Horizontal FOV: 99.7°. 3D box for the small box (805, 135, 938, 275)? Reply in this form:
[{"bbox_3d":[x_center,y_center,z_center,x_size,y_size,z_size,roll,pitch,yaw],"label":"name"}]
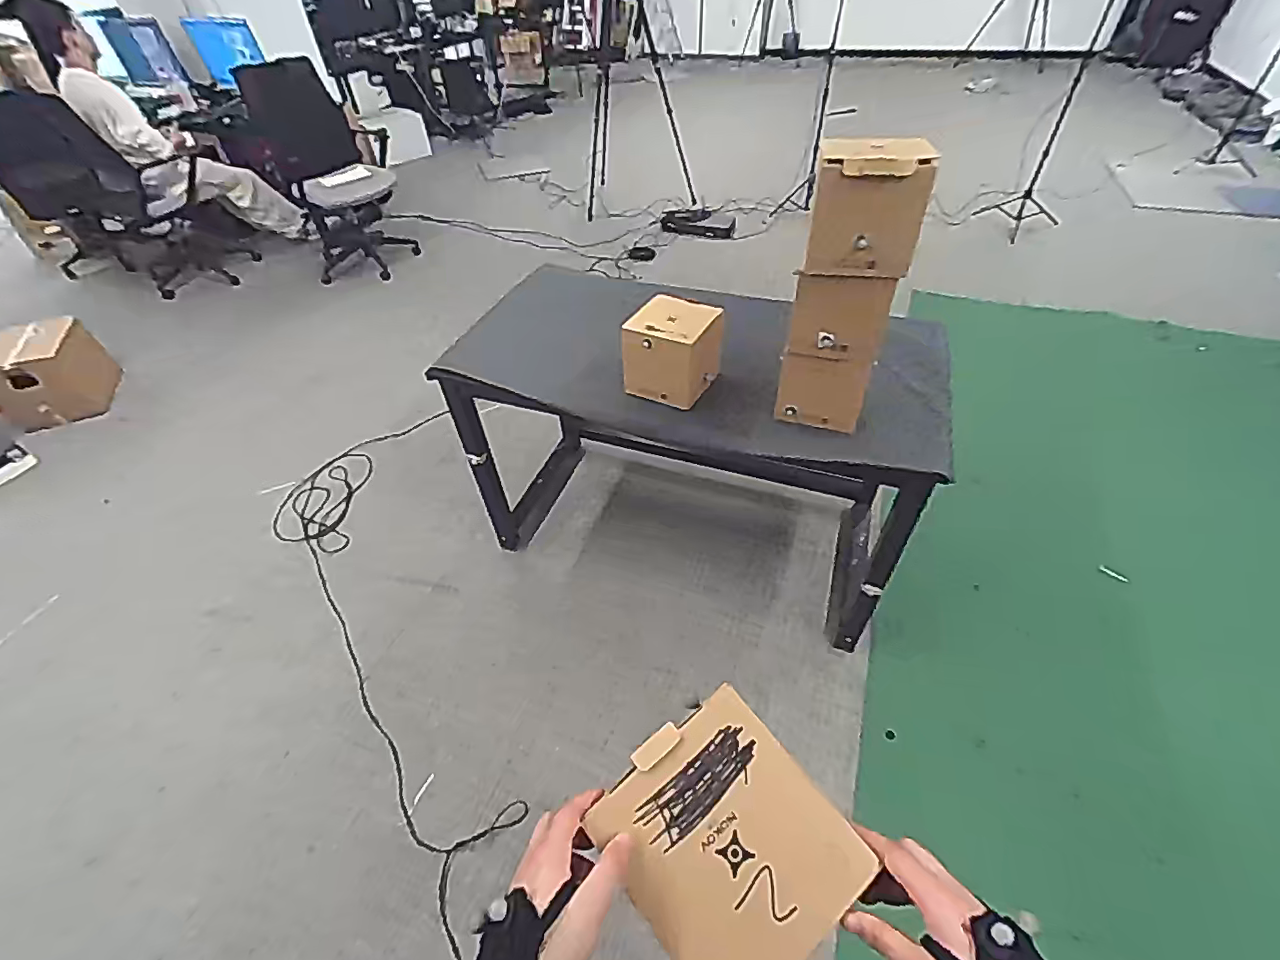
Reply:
[{"bbox_3d":[0.373,-0.460,0.902,0.168,0.176,0.179,7,44,13],"label":"small box"}]

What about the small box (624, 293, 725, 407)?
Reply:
[{"bbox_3d":[0.076,-0.293,1.217,0.168,0.176,0.179,20,48,22],"label":"small box"}]

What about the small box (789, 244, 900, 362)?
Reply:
[{"bbox_3d":[0.381,-0.347,1.023,0.168,0.176,0.179,10,46,15],"label":"small box"}]

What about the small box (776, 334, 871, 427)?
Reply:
[{"bbox_3d":[0.390,-0.233,1.138,0.168,0.176,0.179,13,45,17],"label":"small box"}]
